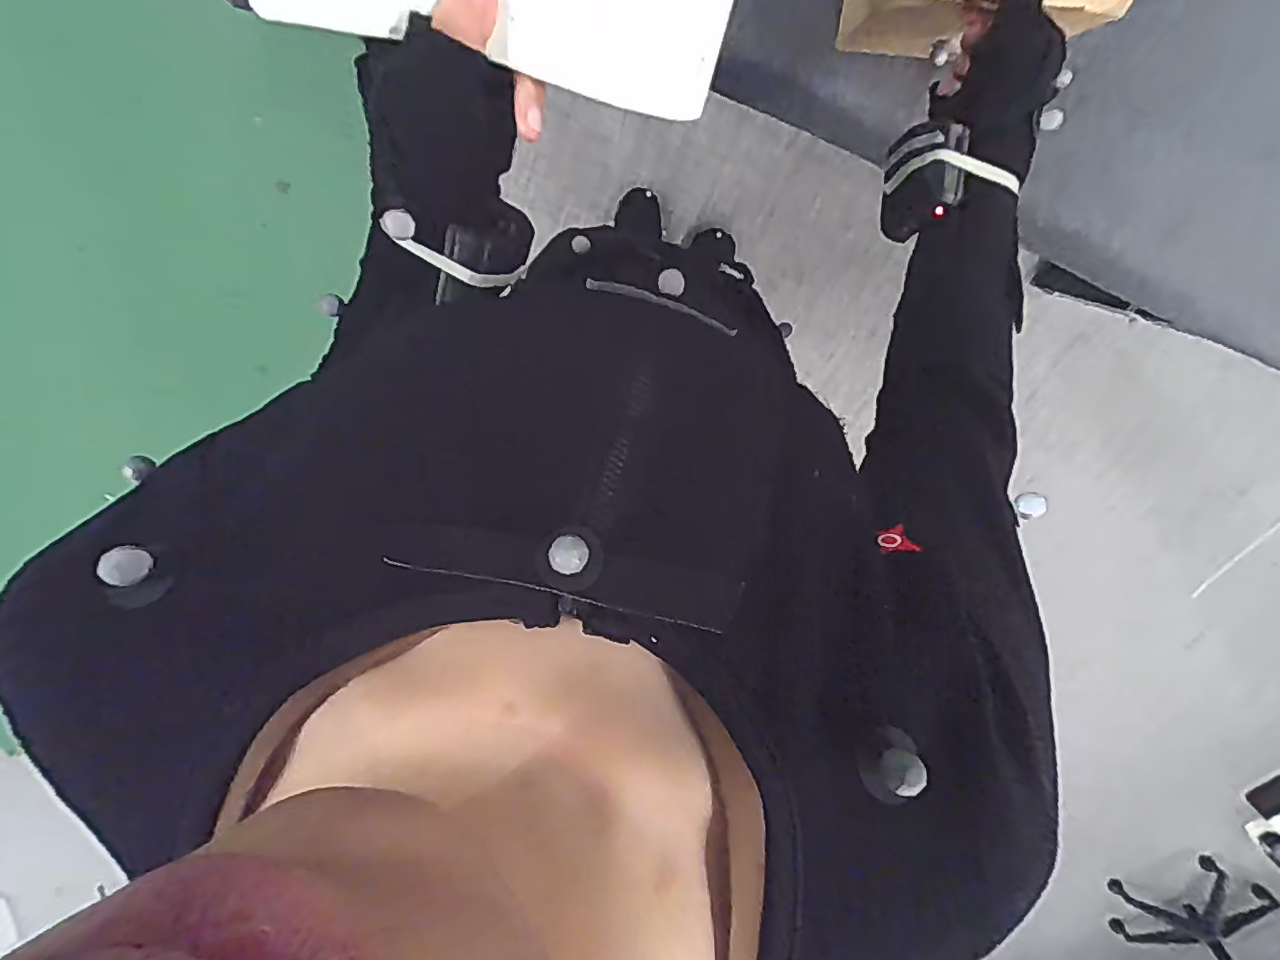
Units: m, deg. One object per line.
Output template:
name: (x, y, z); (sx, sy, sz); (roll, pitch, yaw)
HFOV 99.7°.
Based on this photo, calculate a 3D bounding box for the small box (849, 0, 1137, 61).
small box: (0.279, -0.454, 0.413); (0.168, 0.176, 0.179); (5, 118, 1)
